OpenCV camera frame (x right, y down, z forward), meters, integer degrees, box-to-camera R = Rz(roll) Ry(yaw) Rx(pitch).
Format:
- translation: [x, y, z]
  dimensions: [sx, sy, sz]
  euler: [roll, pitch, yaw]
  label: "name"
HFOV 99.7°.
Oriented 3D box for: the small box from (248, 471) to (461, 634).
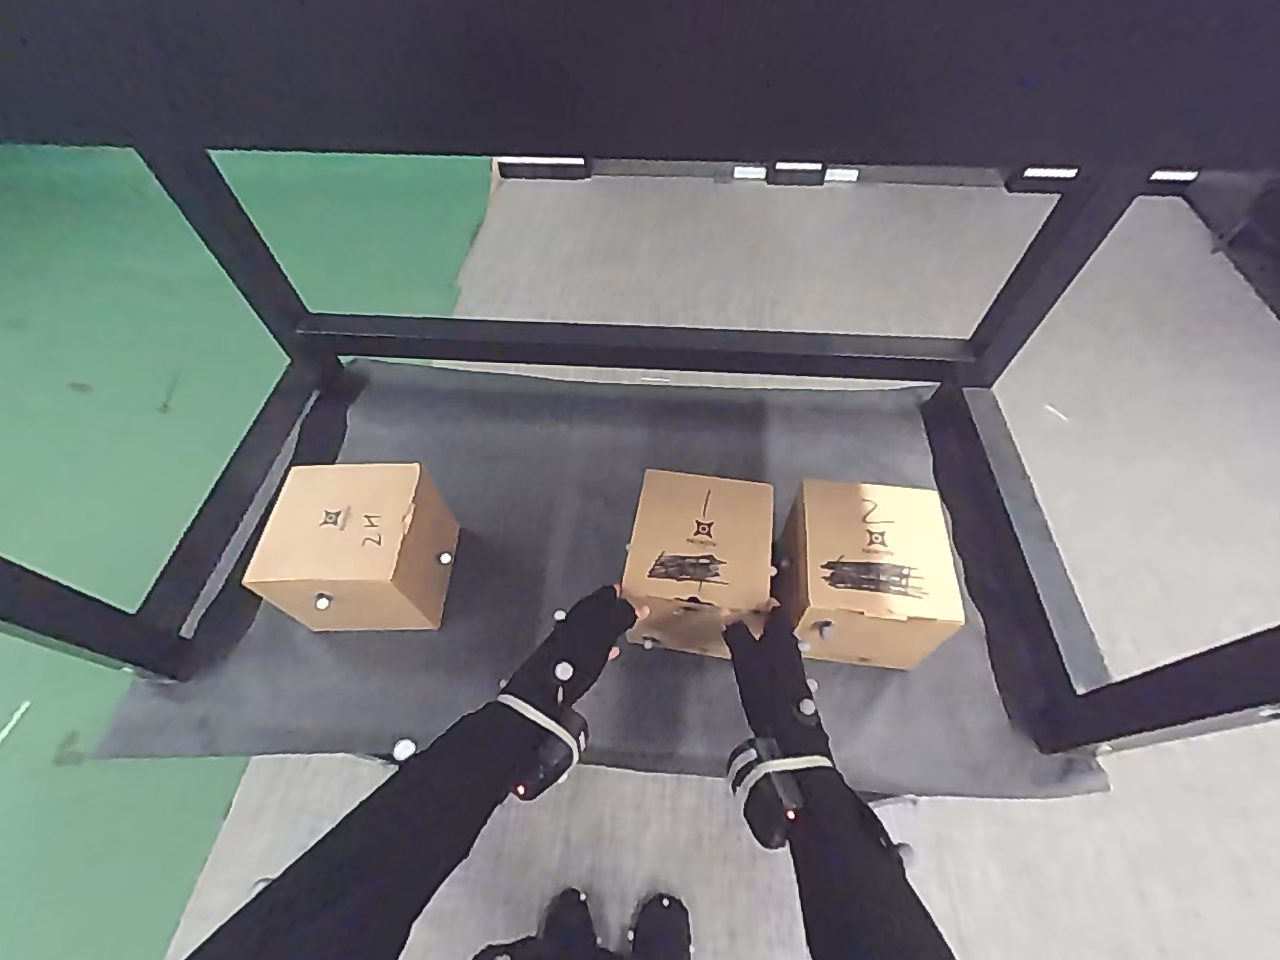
- translation: [-0.365, 0.103, 0.732]
  dimensions: [0.179, 0.176, 0.168]
  euler: [0, 56, 1]
  label: "small box"
